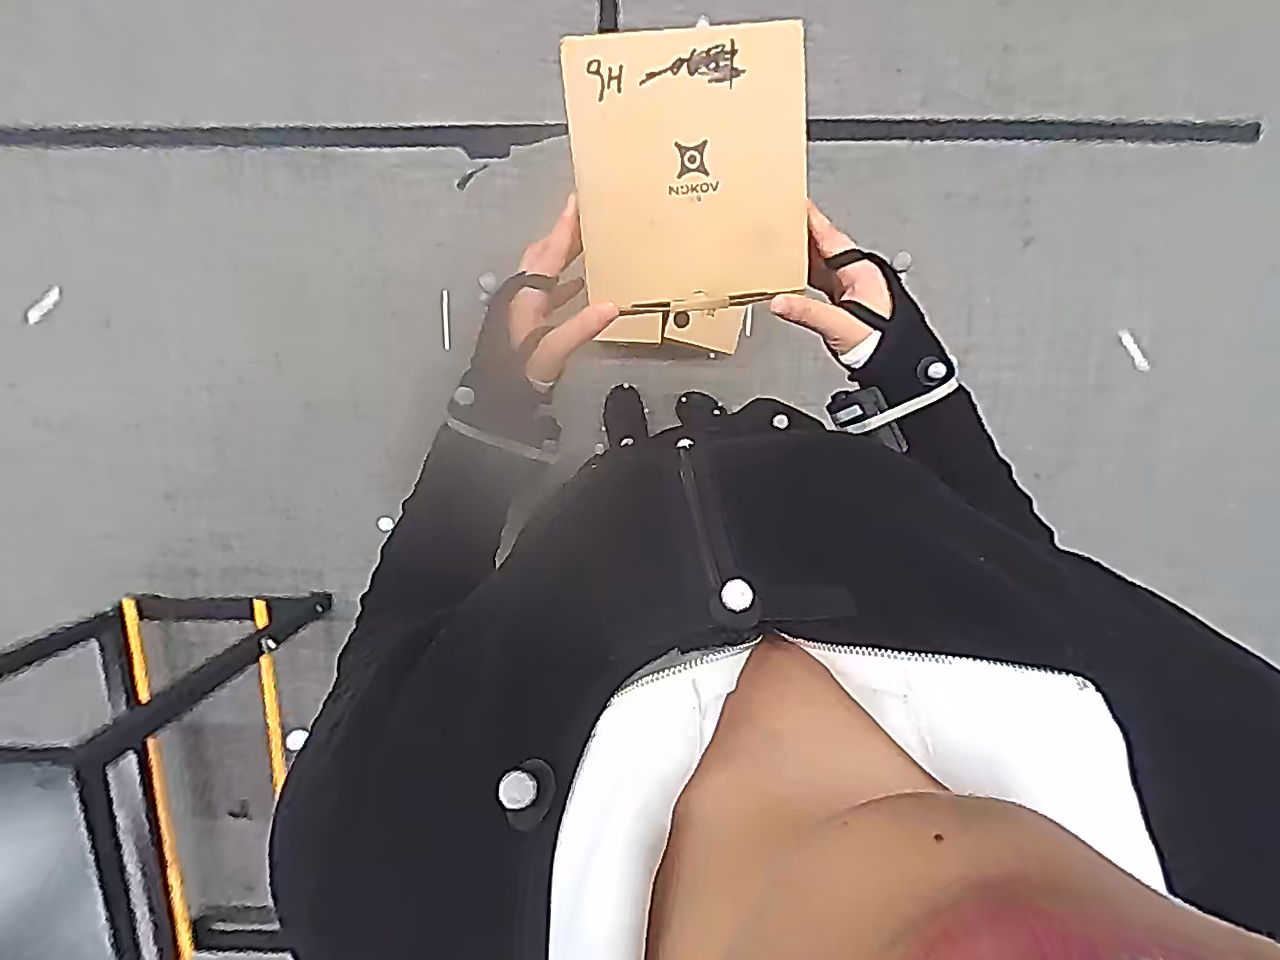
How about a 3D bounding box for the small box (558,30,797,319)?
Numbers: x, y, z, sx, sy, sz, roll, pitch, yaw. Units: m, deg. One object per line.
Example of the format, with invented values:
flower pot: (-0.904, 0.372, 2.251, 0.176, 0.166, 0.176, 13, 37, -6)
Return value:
small box: (0.028, -0.239, 0.466, 0.168, 0.176, 0.179, -7, 107, -2)
